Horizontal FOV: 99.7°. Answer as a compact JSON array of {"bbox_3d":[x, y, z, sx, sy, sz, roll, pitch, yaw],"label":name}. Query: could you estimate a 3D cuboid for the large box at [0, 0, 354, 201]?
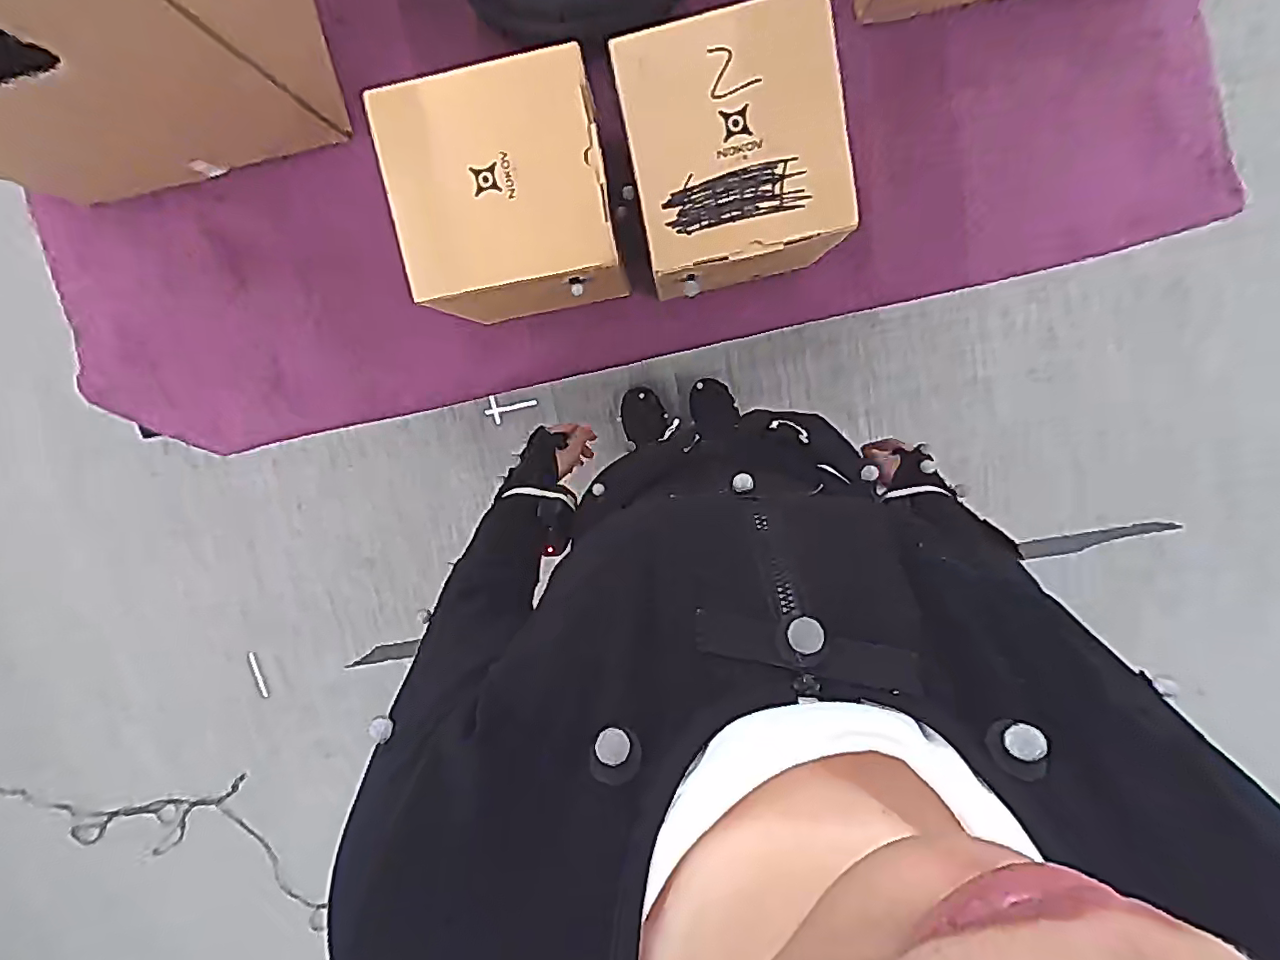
[{"bbox_3d":[-0.498,-0.495,0.408,0.320,0.320,0.408,-13,103,4],"label":"large box"}]
